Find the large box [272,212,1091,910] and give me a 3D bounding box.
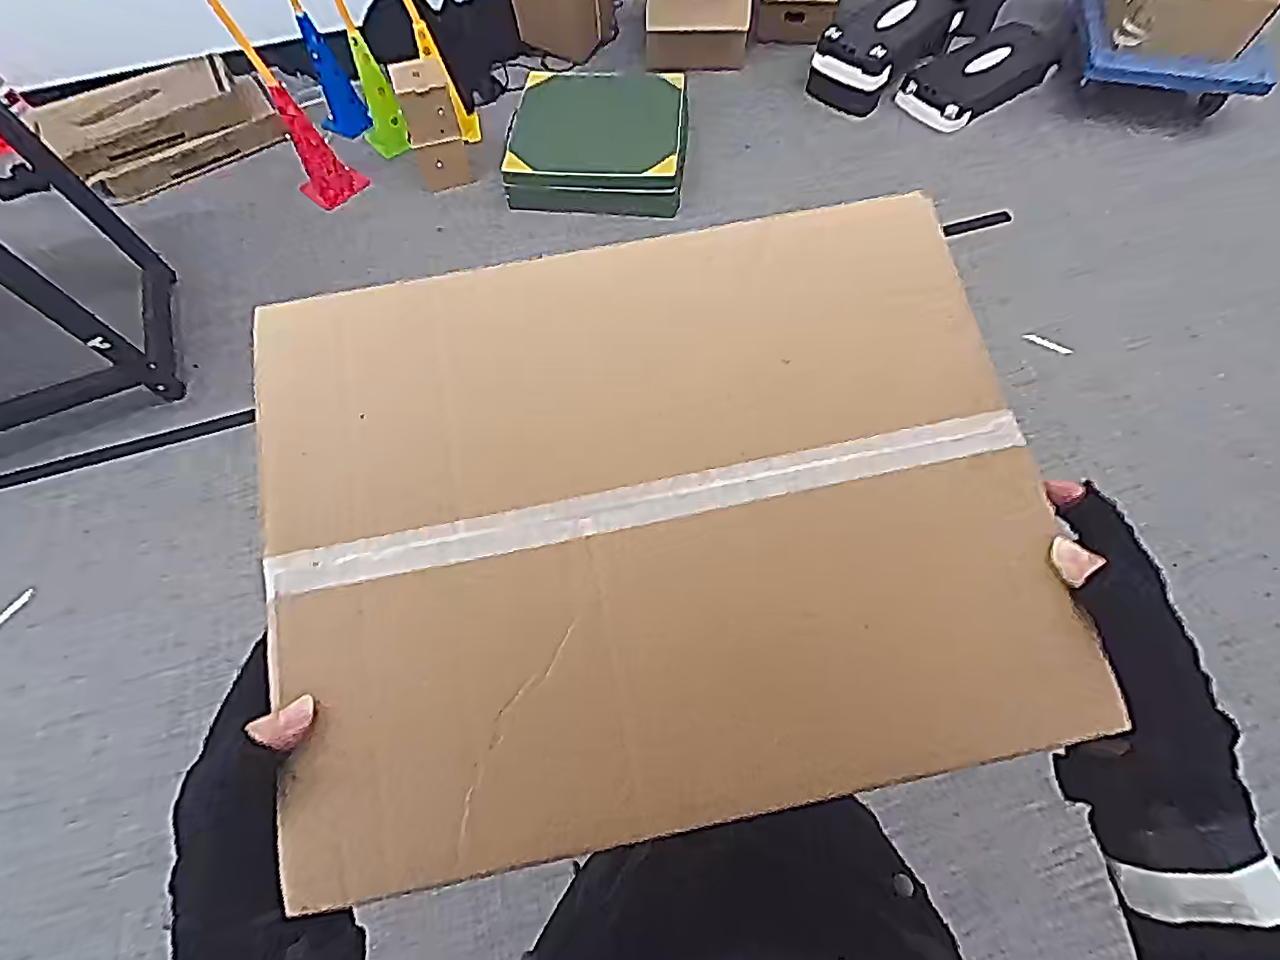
[{"bbox_3d":[0.008,0.050,0.441,0.408,0.320,0.320,-11,76,-2],"label":"large box"}]
